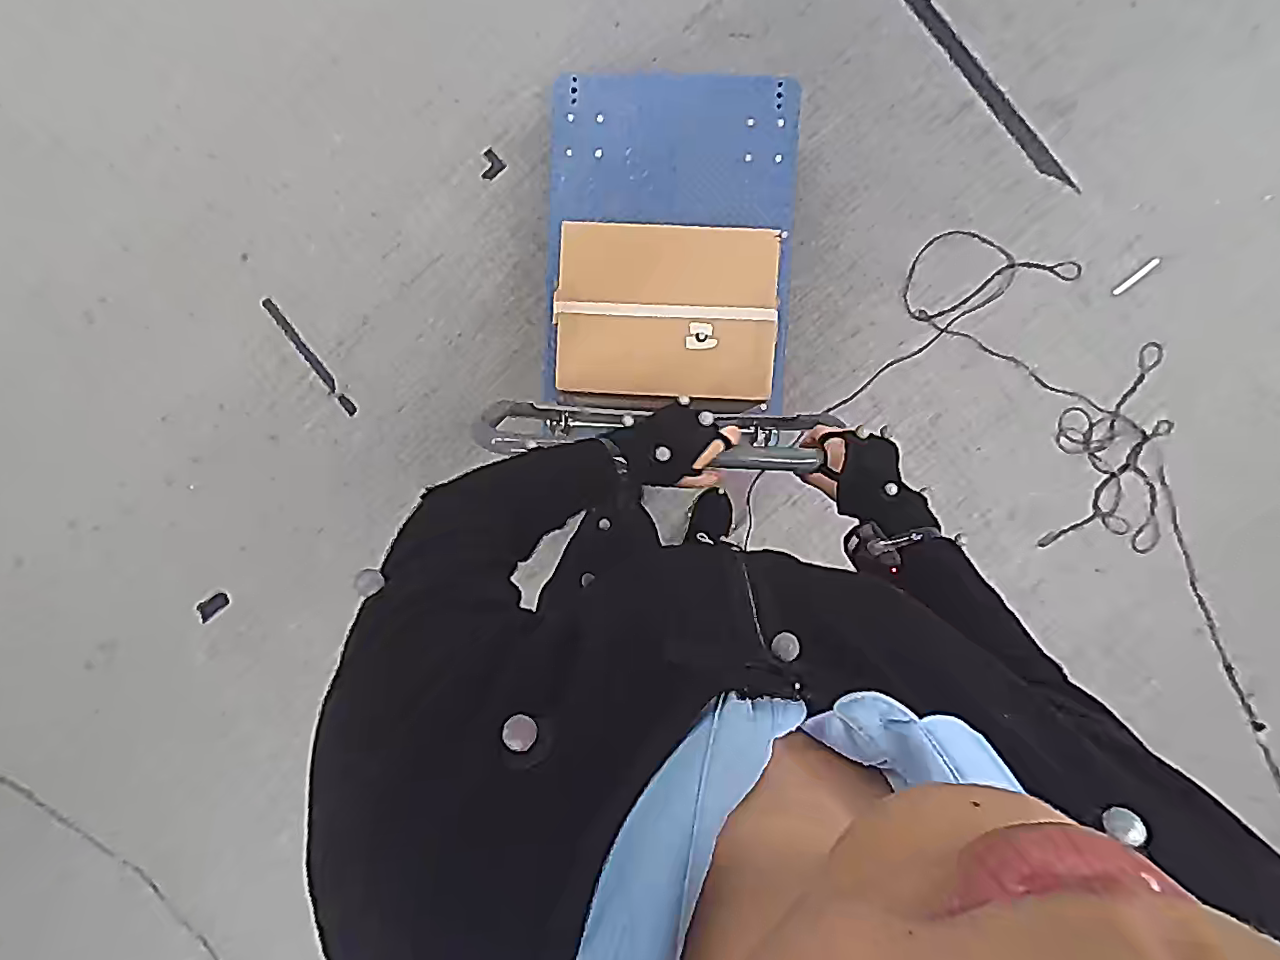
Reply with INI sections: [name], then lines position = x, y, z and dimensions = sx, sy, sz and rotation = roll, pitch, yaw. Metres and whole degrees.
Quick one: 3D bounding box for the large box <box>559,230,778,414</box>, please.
[large box]
position = 0.051, -0.310, 1.152
dimensions = 0.408, 0.320, 0.320
rotation = 3, 94, 1
